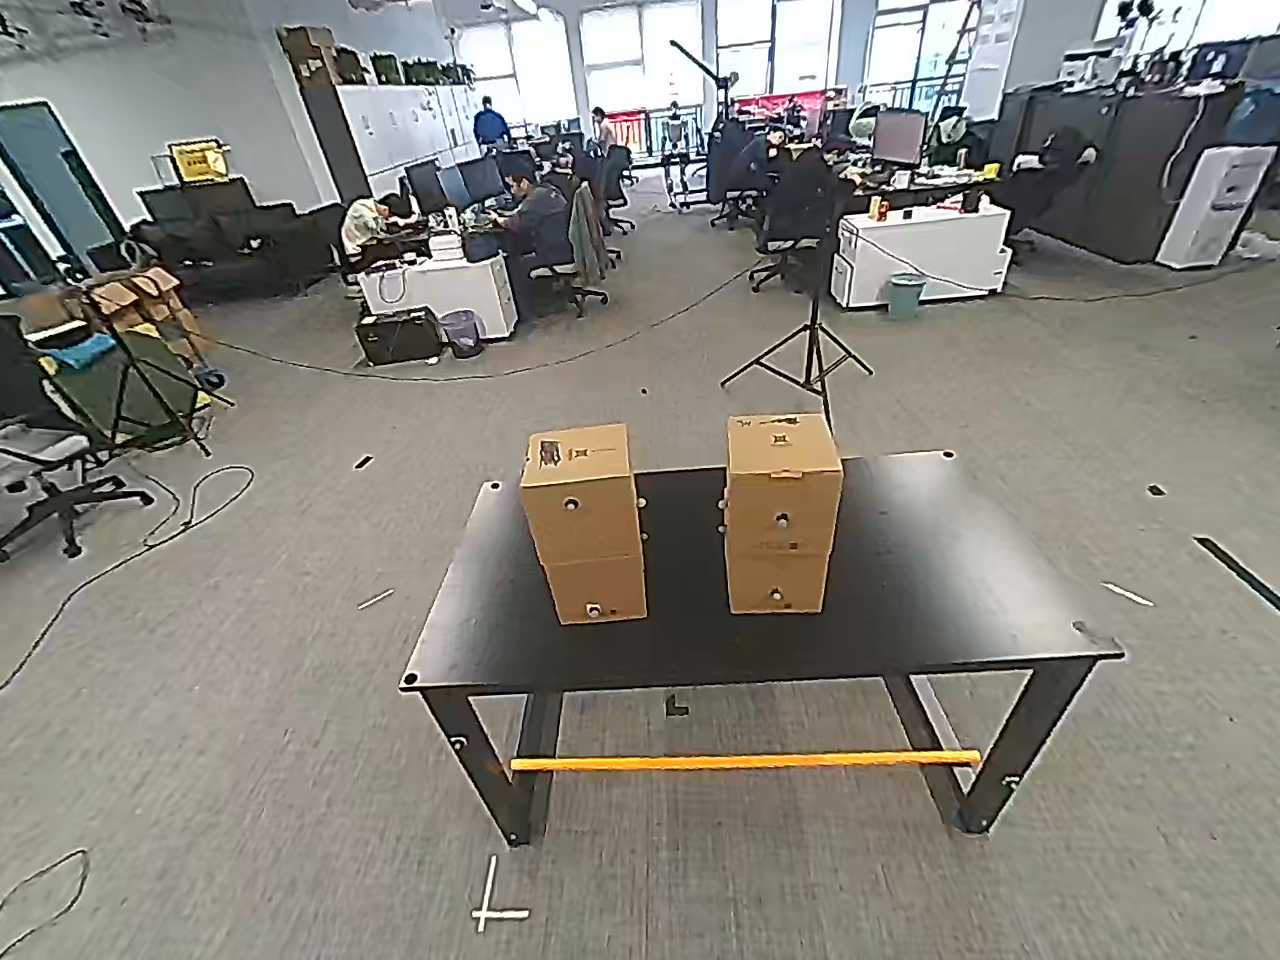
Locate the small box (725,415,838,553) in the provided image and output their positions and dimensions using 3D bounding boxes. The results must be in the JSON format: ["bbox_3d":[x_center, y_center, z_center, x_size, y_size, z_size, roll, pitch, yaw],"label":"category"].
[{"bbox_3d":[0.229,0.008,0.912,0.168,0.176,0.179,-1,37,8],"label":"small box"}]

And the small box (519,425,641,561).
[{"bbox_3d":[-0.098,0.024,0.946,0.179,0.176,0.168,-7,36,0],"label":"small box"}]

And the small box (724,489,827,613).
[{"bbox_3d":[0.245,0.129,1.023,0.168,0.176,0.179,-2,36,7],"label":"small box"}]

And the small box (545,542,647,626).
[{"bbox_3d":[-0.080,0.155,1.044,0.168,0.176,0.179,-7,37,1],"label":"small box"}]
